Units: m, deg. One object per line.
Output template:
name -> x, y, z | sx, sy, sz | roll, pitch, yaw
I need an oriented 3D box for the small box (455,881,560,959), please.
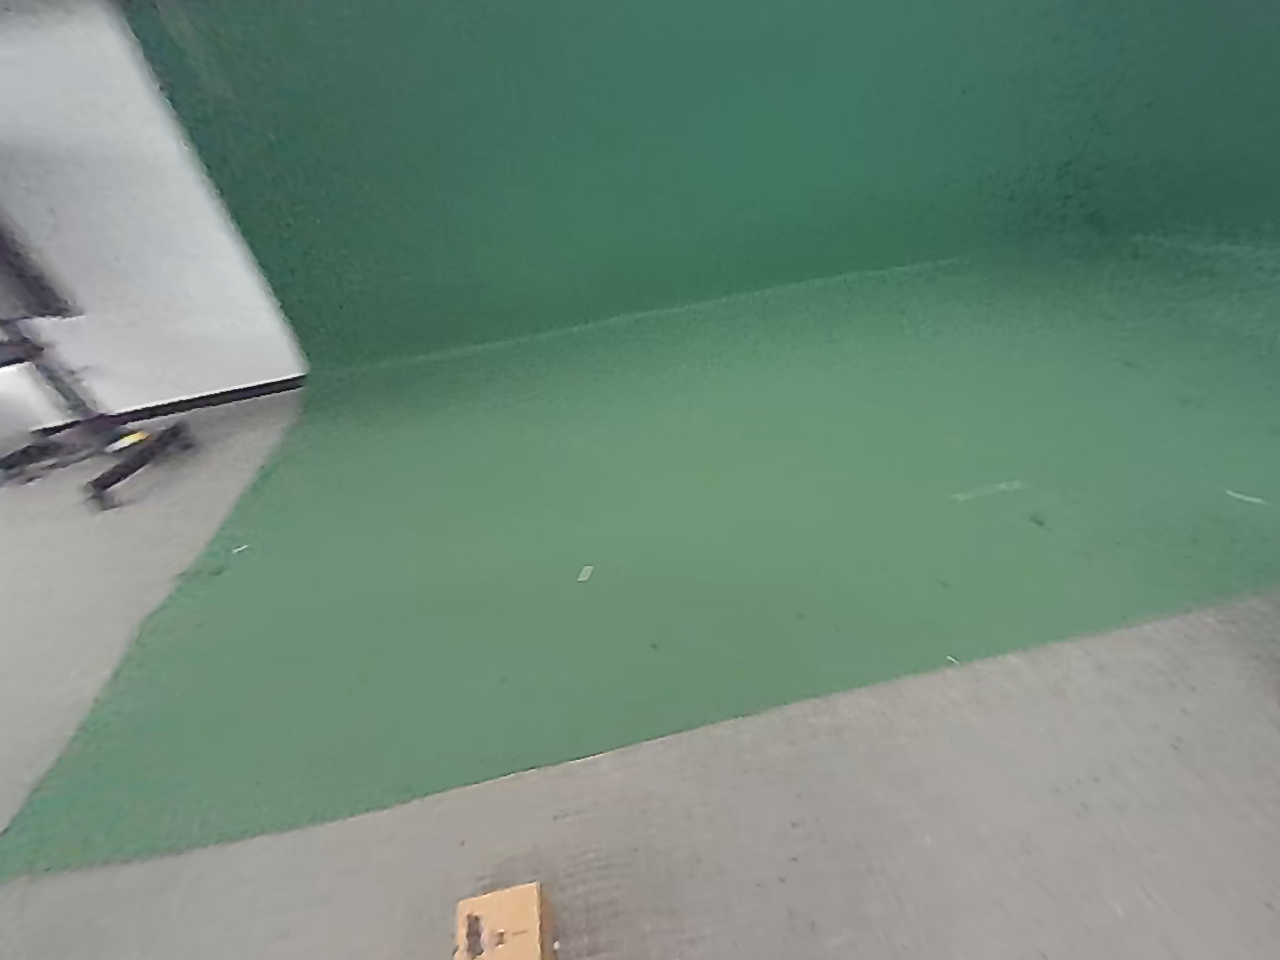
small box -> -0.271, 0.979, 1.126 | 0.179, 0.176, 0.168 | -12, 37, -5
